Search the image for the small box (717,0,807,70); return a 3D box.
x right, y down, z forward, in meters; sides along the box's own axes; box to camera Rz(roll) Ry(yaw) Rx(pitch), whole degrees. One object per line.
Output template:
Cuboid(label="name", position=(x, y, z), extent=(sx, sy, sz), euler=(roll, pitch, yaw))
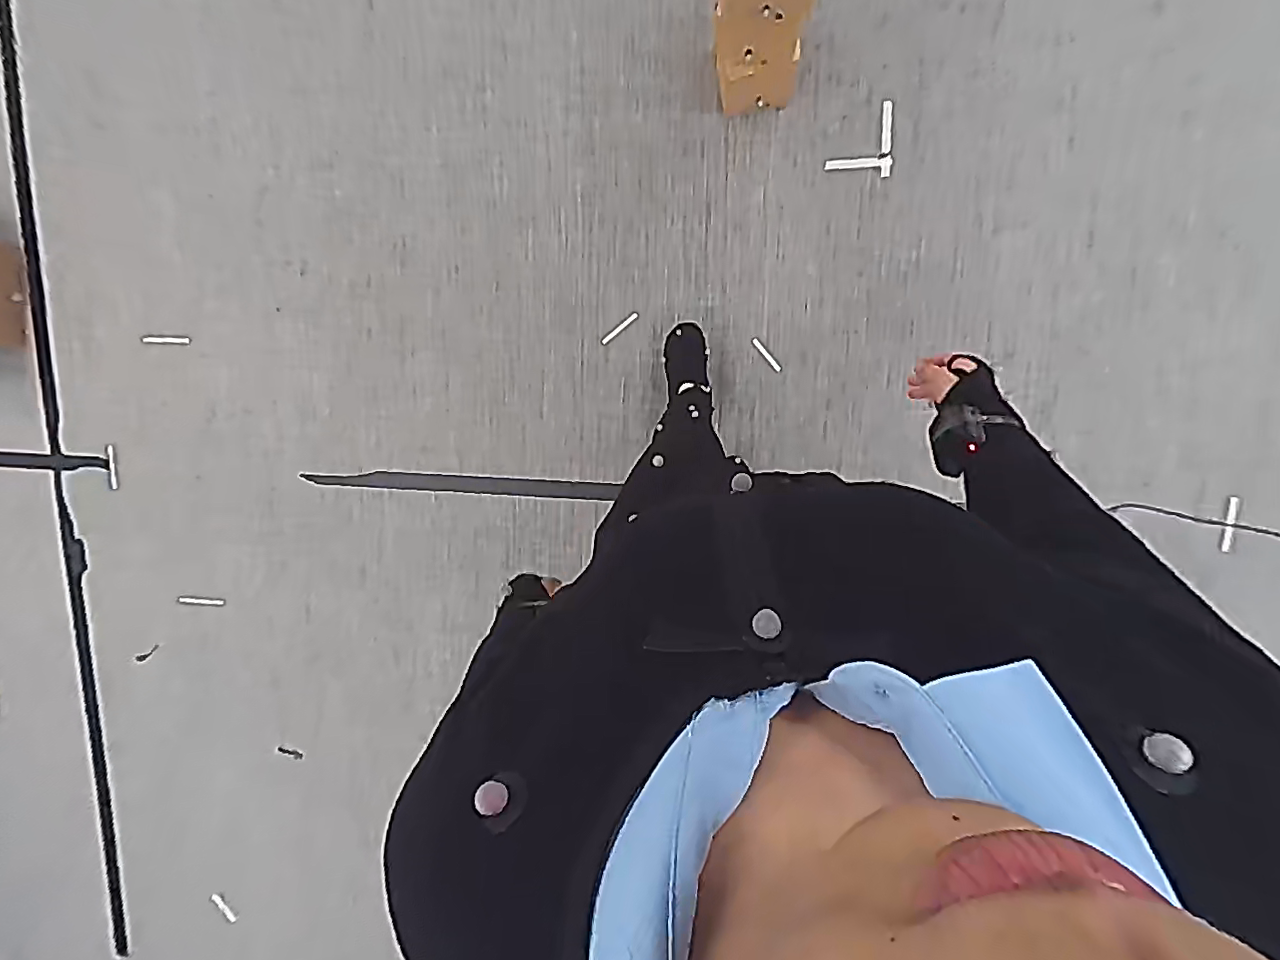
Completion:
Cuboid(label="small box", position=(0.245, -0.980, 1.099), extent=(0.168, 0.176, 0.179), euler=(3, 98, 6))

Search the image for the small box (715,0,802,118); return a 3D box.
Cuboid(label="small box", position=(0.269, -0.993, 1.260), extent=(0.168, 0.176, 0.179), euler=(-10, 96, 8))
